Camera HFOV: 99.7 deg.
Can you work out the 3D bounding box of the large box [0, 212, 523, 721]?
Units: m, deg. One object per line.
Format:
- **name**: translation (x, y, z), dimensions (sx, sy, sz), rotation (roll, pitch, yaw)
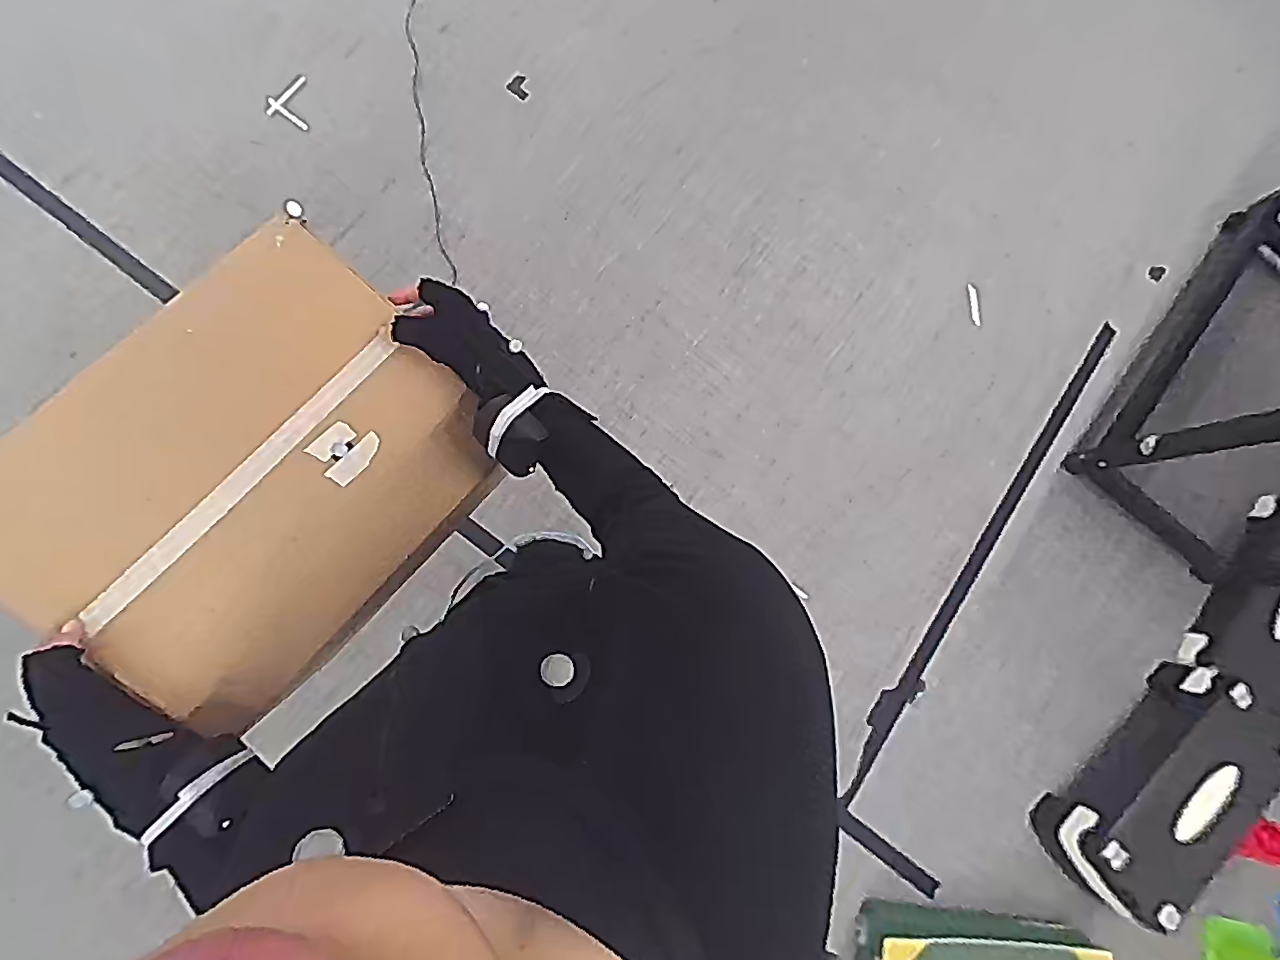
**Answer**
- **large box**: translation (-0.395, -0.011, 0.662), dimensions (0.320, 0.320, 0.408), rotation (43, 78, -9)
